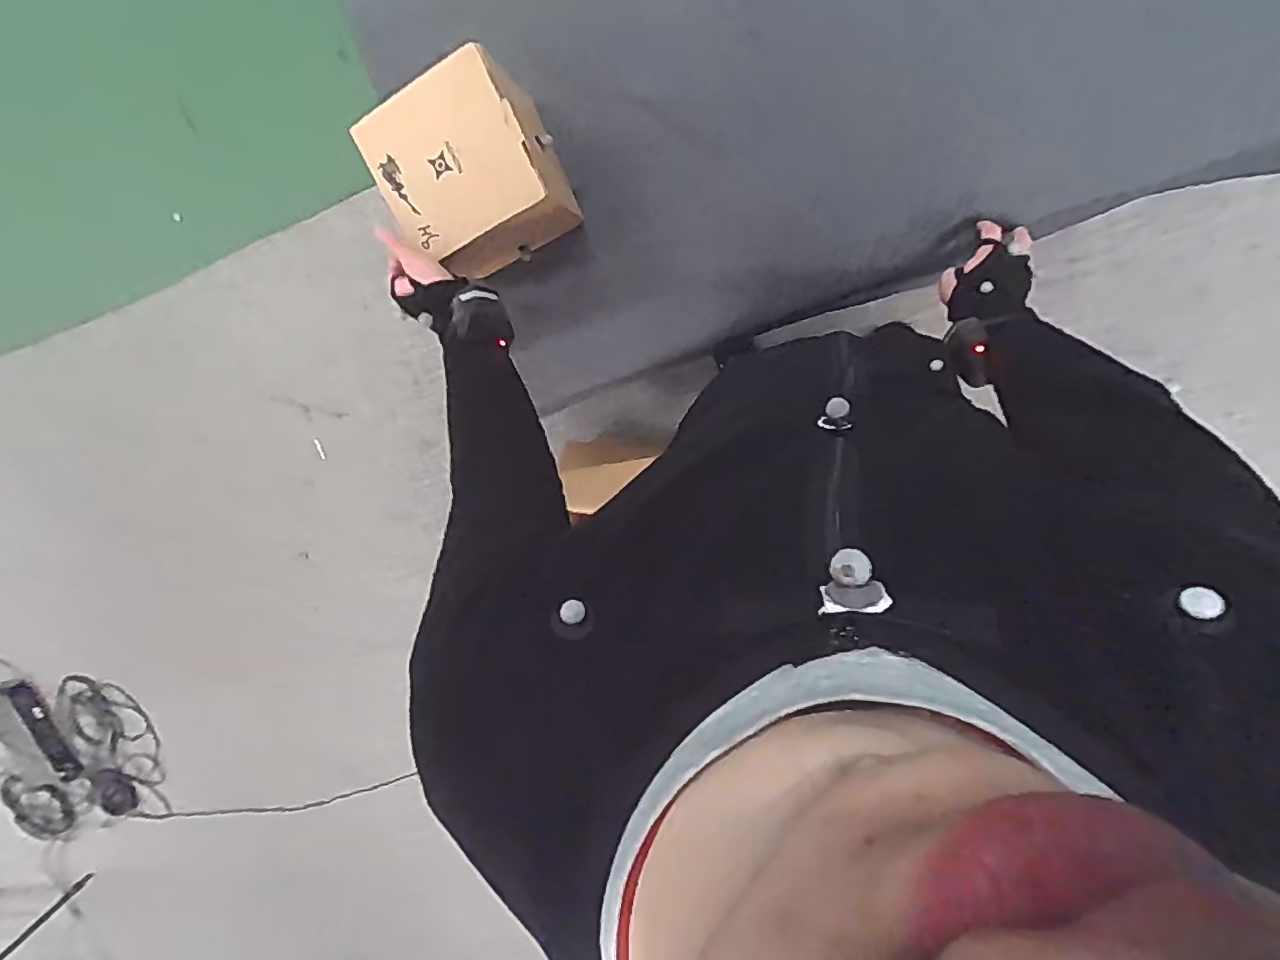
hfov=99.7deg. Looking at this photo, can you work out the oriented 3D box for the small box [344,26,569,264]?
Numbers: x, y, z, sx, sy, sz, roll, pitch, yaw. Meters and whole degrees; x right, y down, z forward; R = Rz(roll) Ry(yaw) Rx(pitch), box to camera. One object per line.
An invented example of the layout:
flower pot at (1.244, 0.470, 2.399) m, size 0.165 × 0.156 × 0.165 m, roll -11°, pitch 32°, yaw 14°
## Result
small box at (-0.201, -0.383, 0.657) m, size 0.179 × 0.176 × 0.168 m, roll -22°, pitch 103°, yaw 14°
